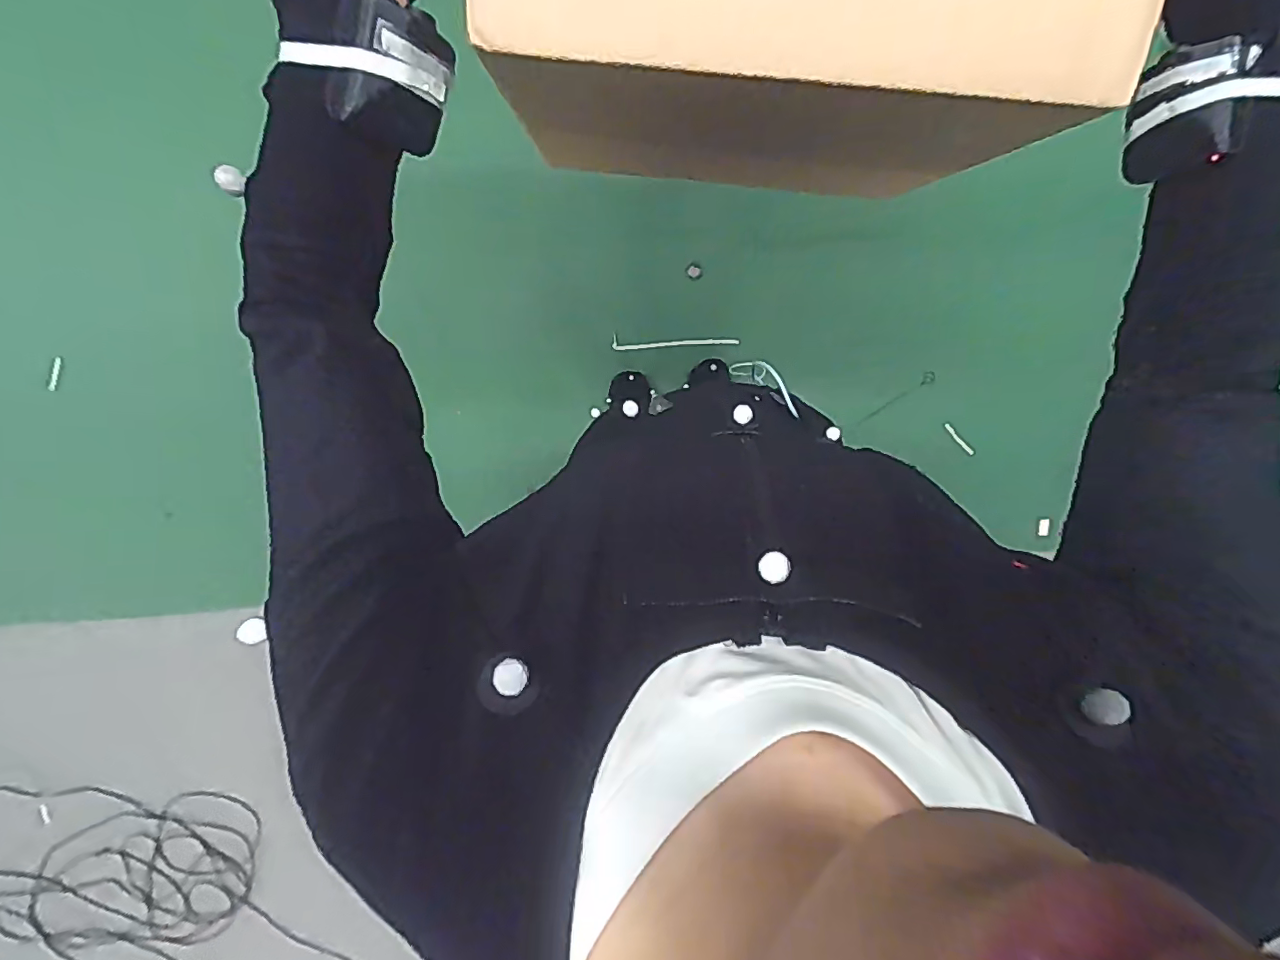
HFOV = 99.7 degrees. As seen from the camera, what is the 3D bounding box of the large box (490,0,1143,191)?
[{"bbox_3d":[0.108,-0.443,0.430,0.408,0.320,0.320,3,108,-3],"label":"large box"}]
